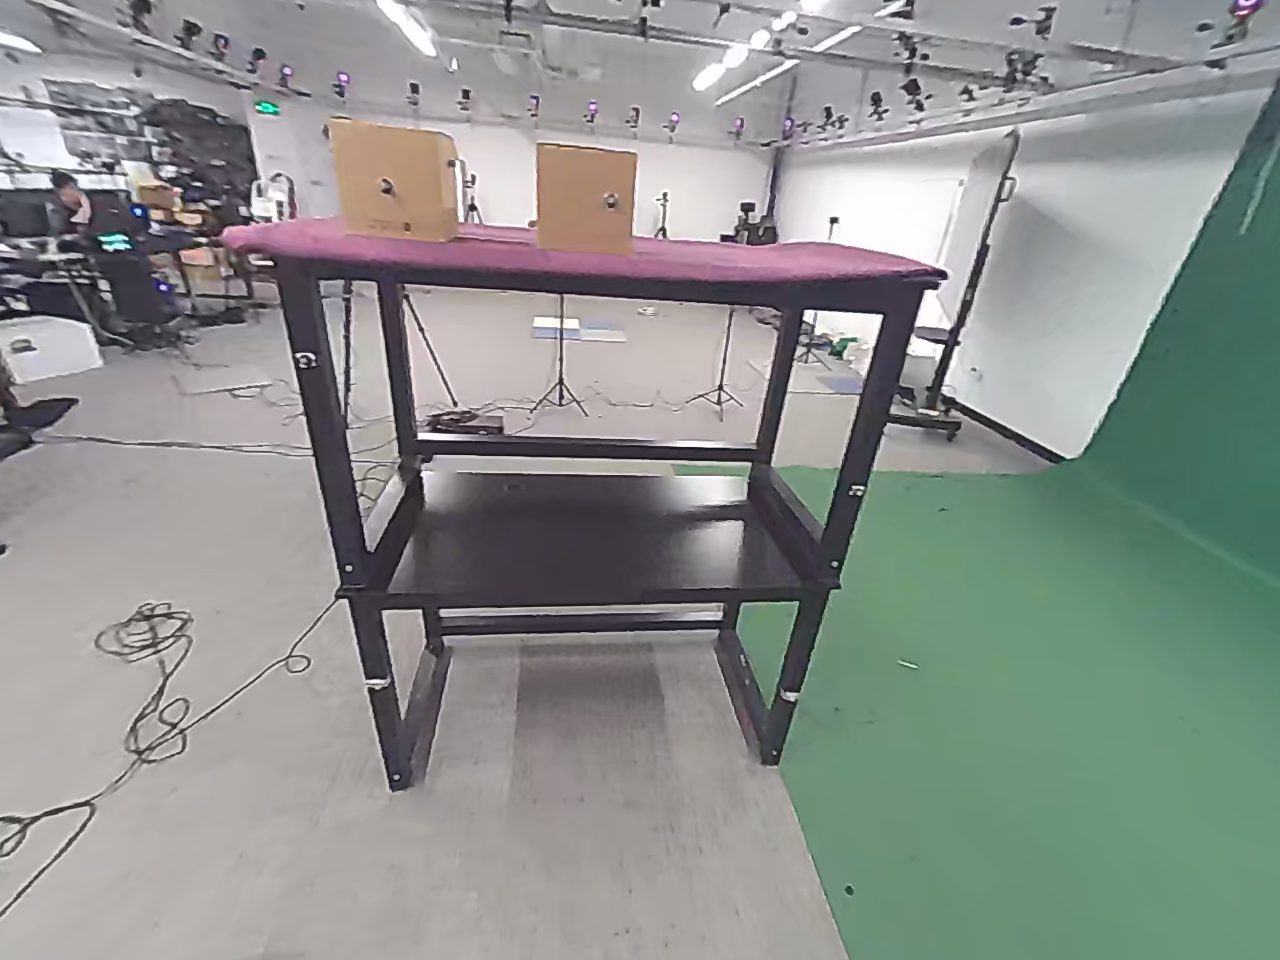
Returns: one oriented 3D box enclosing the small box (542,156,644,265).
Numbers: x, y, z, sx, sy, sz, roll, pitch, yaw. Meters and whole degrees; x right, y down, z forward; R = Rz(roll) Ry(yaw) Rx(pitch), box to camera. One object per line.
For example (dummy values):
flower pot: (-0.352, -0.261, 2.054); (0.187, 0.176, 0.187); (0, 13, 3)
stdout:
small box: (-0.096, -0.508, 1.032); (0.179, 0.176, 0.168); (0, 26, -9)

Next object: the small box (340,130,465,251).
small box: (-0.412, -0.515, 0.974); (0.168, 0.176, 0.179); (2, 27, -10)
